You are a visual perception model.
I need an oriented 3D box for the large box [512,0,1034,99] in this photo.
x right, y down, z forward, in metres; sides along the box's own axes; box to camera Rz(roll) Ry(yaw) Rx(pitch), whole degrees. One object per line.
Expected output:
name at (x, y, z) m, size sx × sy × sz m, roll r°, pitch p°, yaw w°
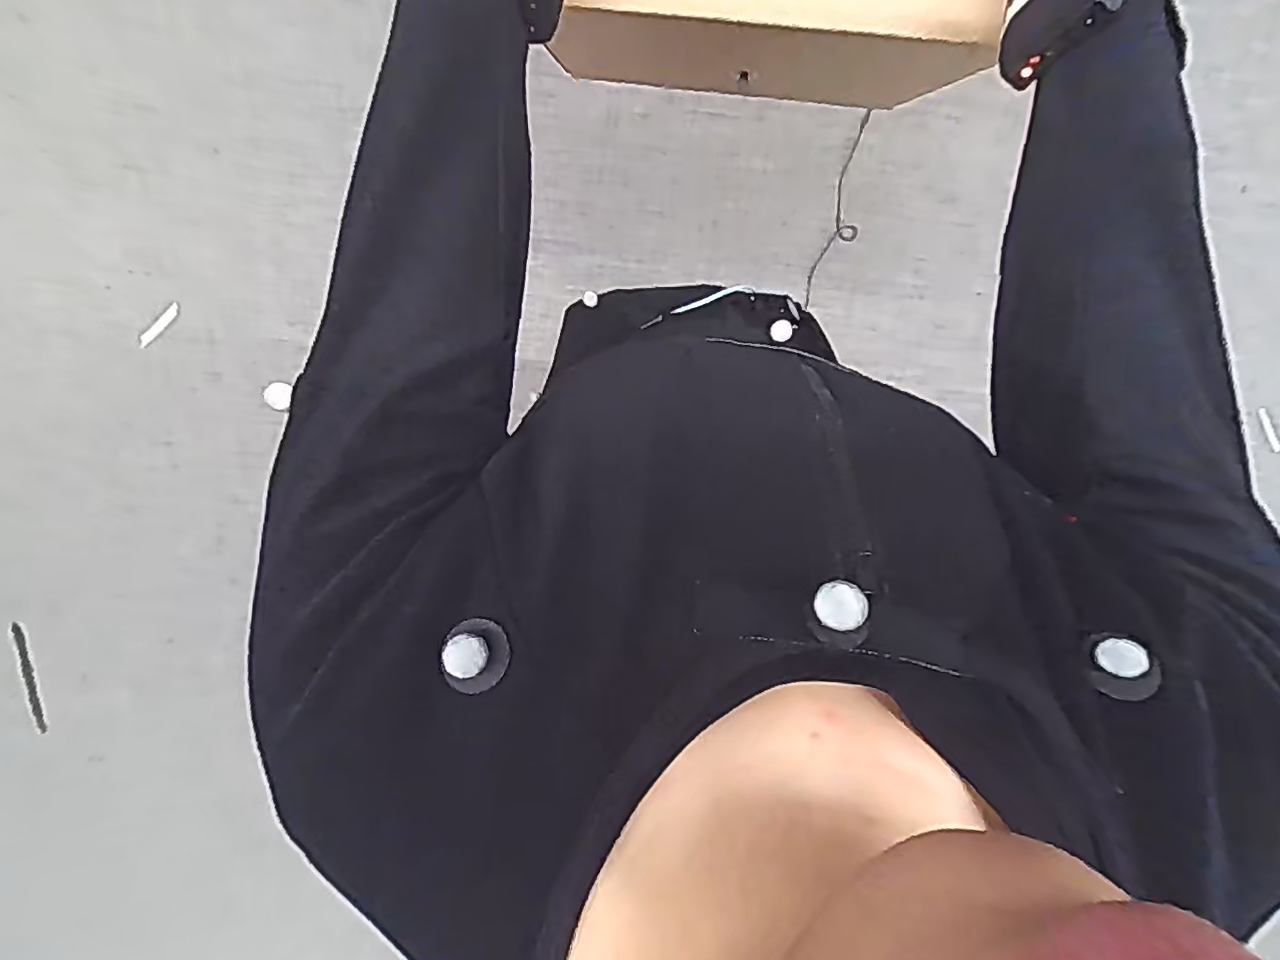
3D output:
large box at (0.118, -0.555, 0.479) m, size 0.408 × 0.320 × 0.320 m, roll 6°, pitch 117°, yaw 0°
